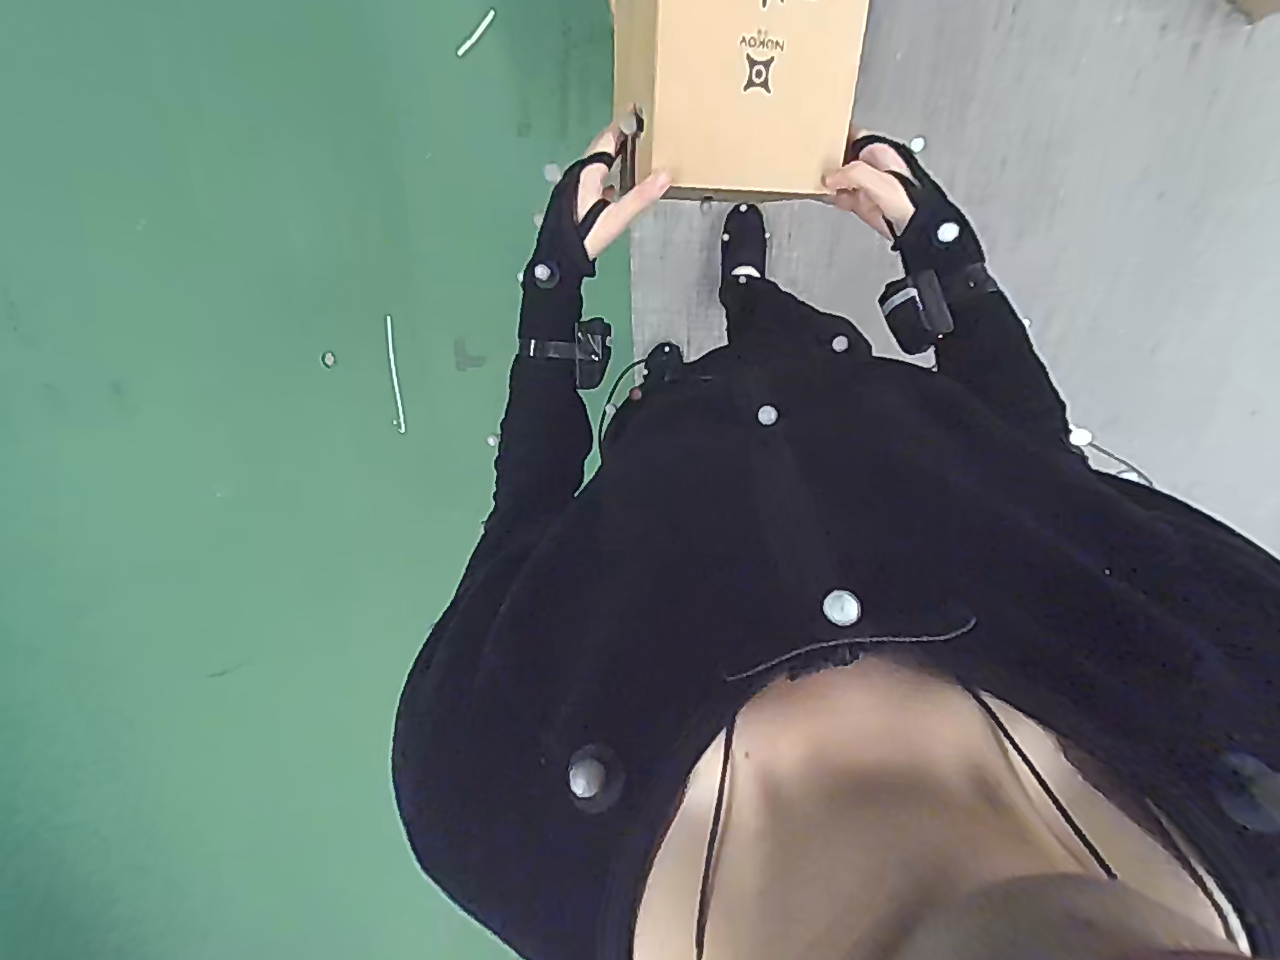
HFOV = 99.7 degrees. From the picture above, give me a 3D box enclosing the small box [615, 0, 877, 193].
[{"bbox_3d":[0.075,-0.354,0.468,0.168,0.176,0.179,-4,114,-14],"label":"small box"}]
